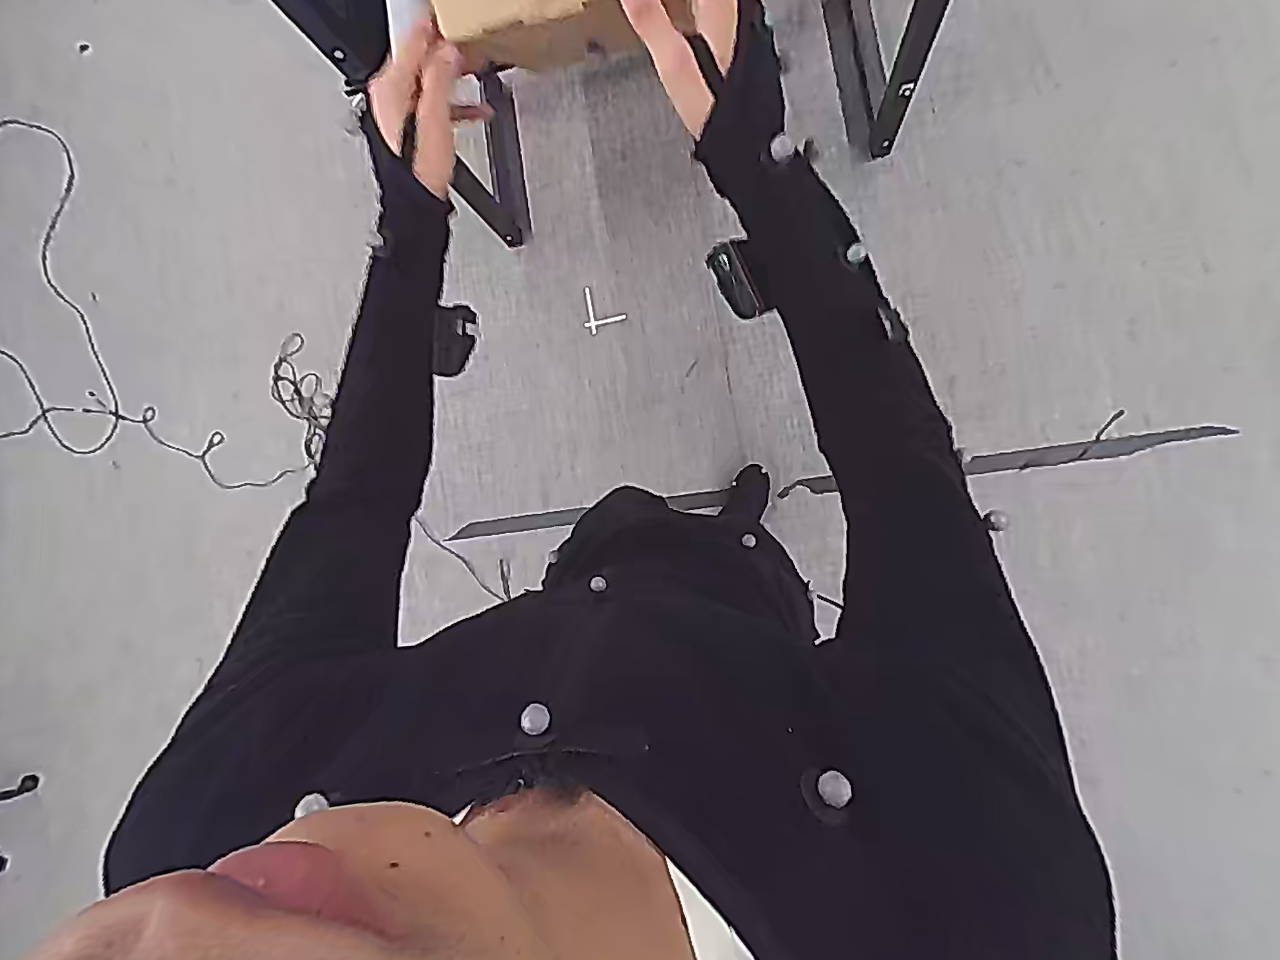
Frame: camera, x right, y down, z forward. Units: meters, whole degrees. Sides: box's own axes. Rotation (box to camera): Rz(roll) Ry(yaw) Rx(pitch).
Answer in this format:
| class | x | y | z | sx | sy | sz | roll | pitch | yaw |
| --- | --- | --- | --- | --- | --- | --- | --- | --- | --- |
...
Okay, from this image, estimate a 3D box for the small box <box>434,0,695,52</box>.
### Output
| class | x | y | z | sx | sy | sz | roll | pitch | yaw |
| --- | --- | --- | --- | --- | --- | --- | --- | --- | --- |
| small box | -0.057 | -0.434 | 0.378 | 0.168 | 0.176 | 0.179 | -2 | 121 | 15 |
